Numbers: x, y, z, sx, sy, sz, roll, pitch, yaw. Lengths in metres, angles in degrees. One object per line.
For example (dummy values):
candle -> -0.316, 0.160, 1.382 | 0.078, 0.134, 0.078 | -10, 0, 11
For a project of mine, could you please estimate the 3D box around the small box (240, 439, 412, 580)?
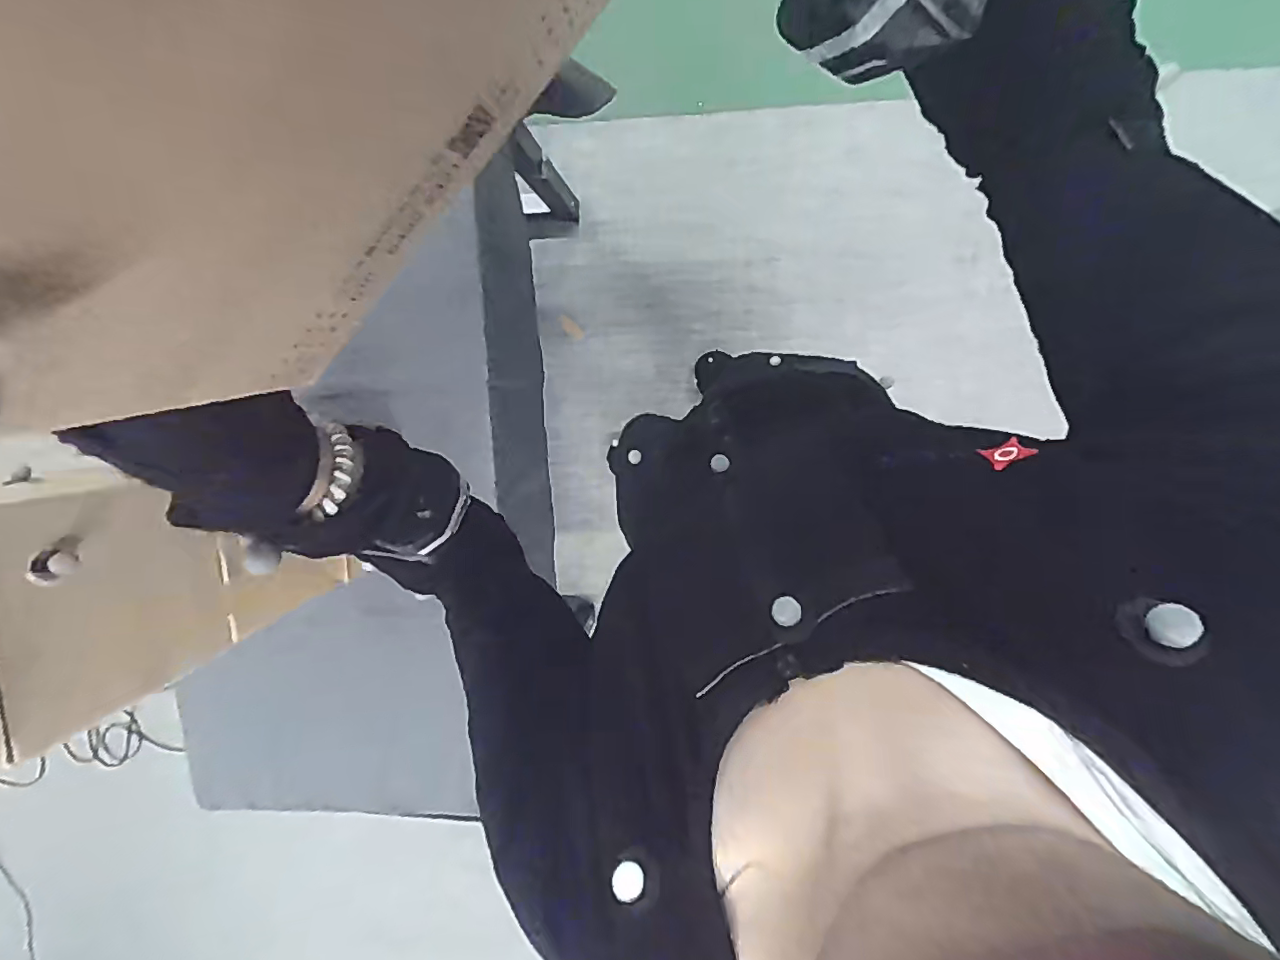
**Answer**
small box -> -0.439, 0.032, 0.753 | 0.179, 0.176, 0.168 | -1, 100, 8

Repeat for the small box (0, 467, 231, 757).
small box -> -0.476, 0.084, 0.433 | 0.168, 0.176, 0.179 | 1, 100, 7

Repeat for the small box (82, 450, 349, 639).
small box -> -0.458, 0.059, 0.594 | 0.179, 0.176, 0.168 | 0, 100, 7
